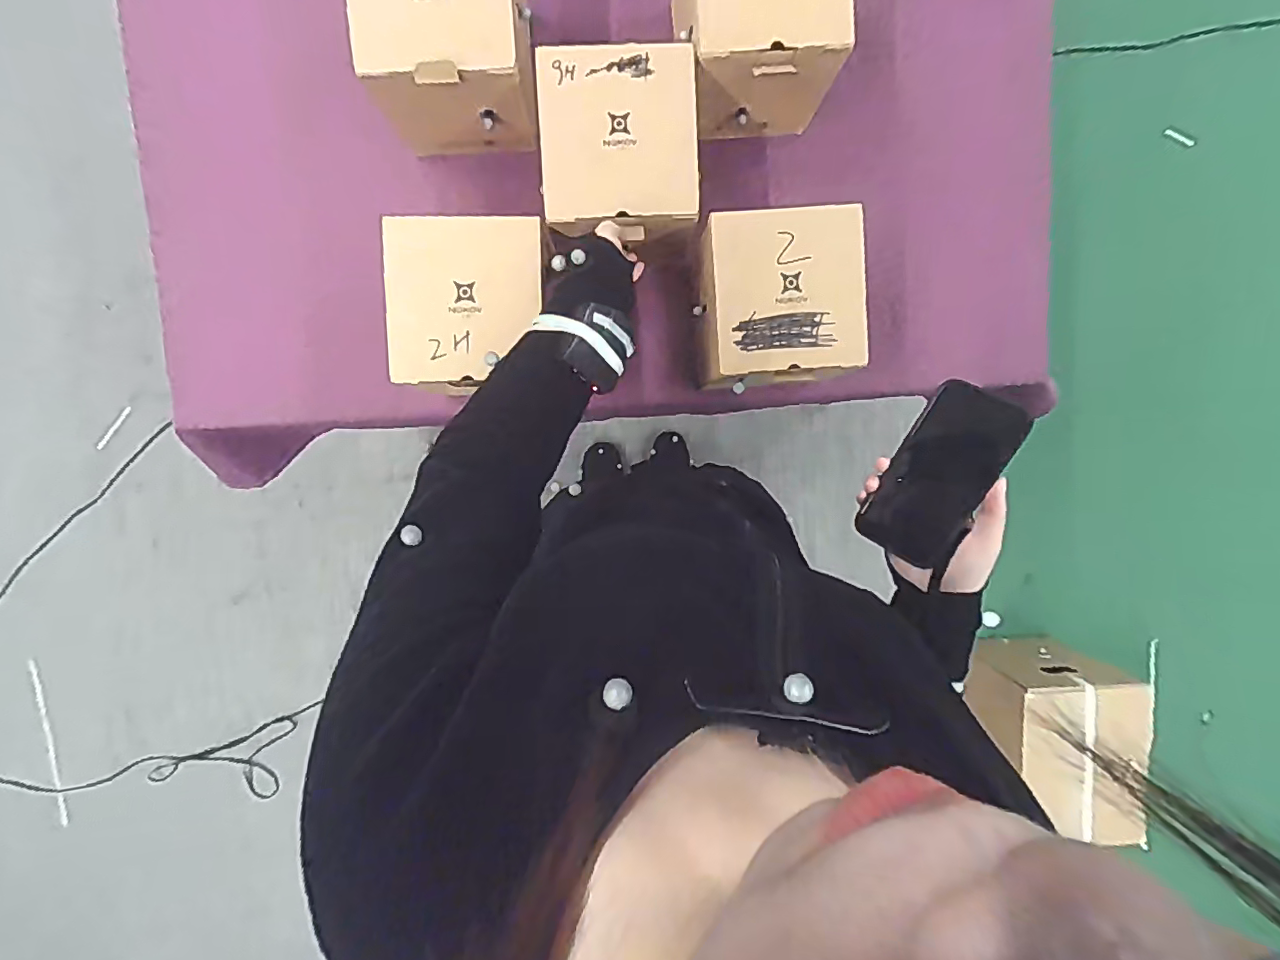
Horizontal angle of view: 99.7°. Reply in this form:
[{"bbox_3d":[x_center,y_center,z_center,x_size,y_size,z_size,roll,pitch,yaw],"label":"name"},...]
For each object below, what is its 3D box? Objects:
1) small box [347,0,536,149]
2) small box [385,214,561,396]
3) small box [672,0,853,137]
[{"bbox_3d":[-0.217,-0.508,0.624,0.168,0.176,0.179,-3,95,-3],"label":"small box"},{"bbox_3d":[-0.189,-0.197,0.652,0.168,0.176,0.179,0,95,-1],"label":"small box"},{"bbox_3d":[0.131,-0.540,0.633,0.168,0.176,0.179,-5,97,-1],"label":"small box"}]
